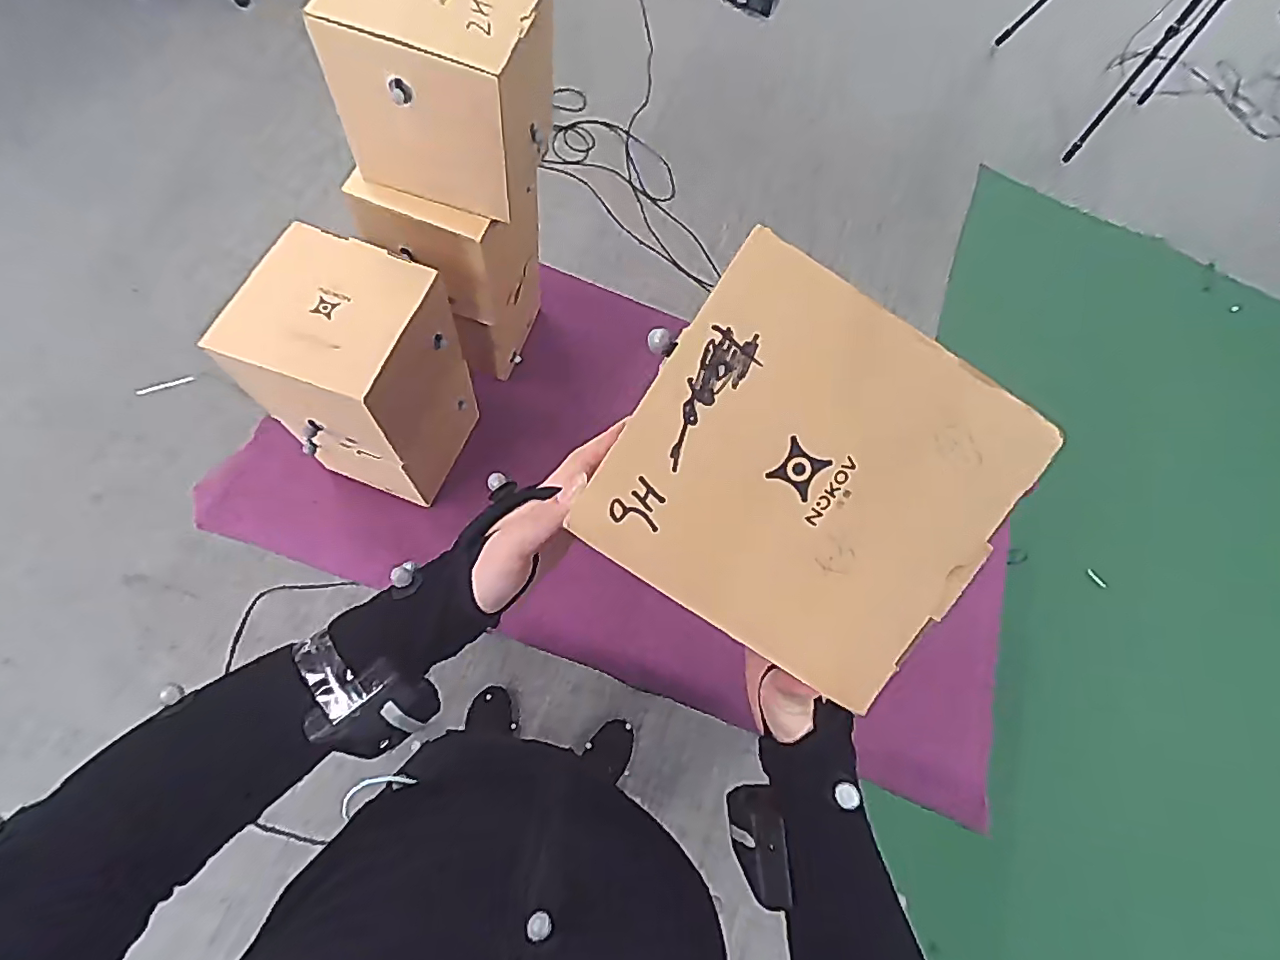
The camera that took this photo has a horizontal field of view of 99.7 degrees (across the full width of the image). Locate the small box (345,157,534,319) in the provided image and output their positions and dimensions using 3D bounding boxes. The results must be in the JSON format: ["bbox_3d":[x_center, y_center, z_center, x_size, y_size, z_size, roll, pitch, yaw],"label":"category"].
[{"bbox_3d":[-0.243,-0.346,0.713,0.168,0.176,0.179,19,68,-3],"label":"small box"}]

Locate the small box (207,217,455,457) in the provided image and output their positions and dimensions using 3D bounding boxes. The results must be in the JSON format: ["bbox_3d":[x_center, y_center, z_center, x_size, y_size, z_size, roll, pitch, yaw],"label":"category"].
[{"bbox_3d":[-0.330,-0.154,0.626,0.168,0.176,0.179,19,68,-2],"label":"small box"}]

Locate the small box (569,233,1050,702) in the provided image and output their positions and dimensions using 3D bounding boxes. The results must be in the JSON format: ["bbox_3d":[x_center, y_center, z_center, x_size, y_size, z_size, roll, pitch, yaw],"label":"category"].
[{"bbox_3d":[0.080,-0.010,0.336,0.179,0.176,0.168,34,94,-4],"label":"small box"}]

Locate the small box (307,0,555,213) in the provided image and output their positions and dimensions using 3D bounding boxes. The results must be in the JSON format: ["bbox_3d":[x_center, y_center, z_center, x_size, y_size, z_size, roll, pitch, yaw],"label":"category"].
[{"bbox_3d":[-0.197,-0.420,0.570,0.179,0.176,0.168,16,69,-4],"label":"small box"}]
